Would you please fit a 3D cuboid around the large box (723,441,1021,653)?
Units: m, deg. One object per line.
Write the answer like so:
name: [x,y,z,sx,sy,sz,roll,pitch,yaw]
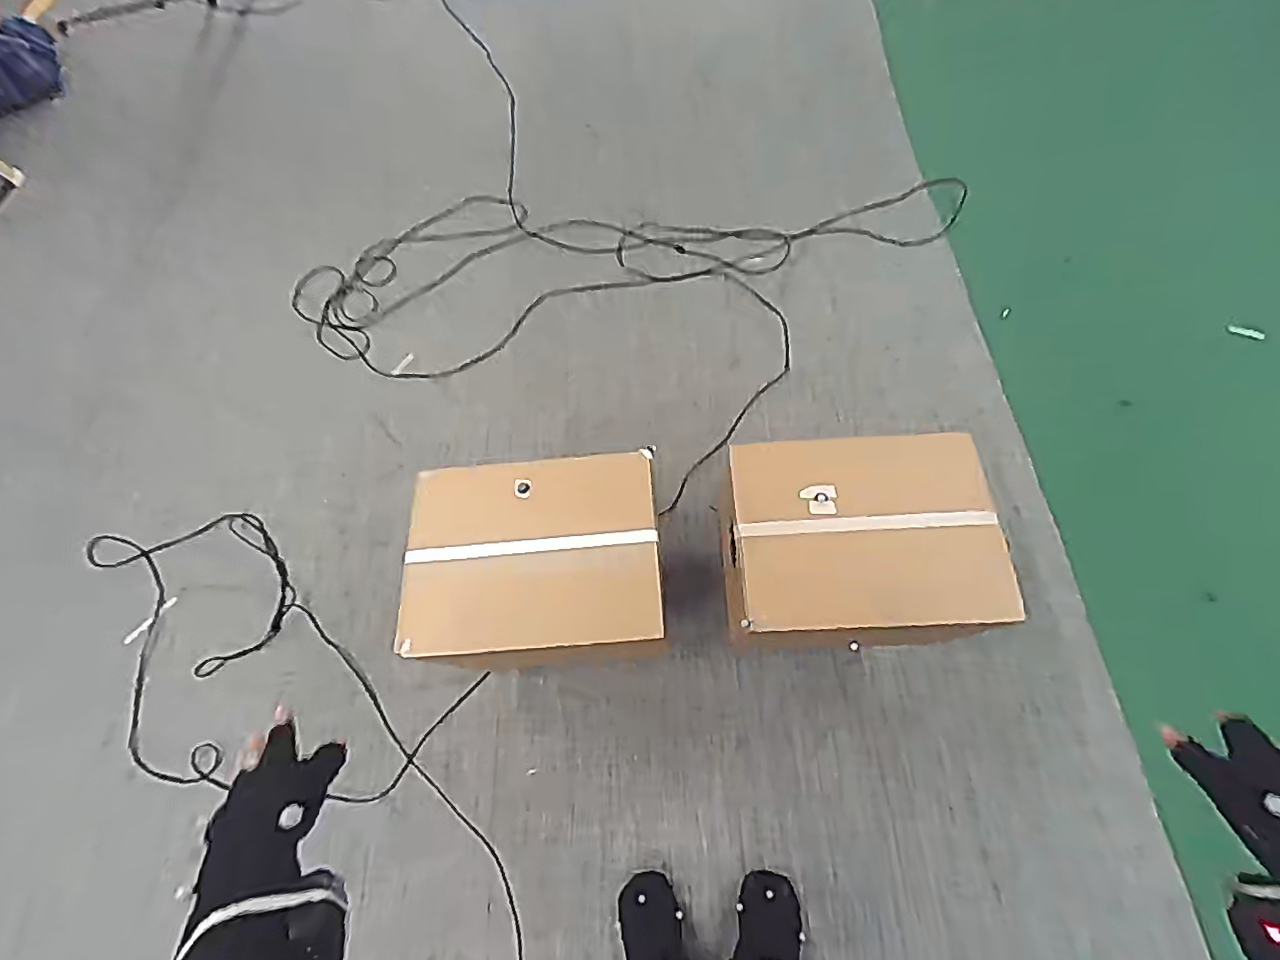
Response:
large box: [0.376,0.143,1.003,0.408,0.320,0.320,-3,66,3]
